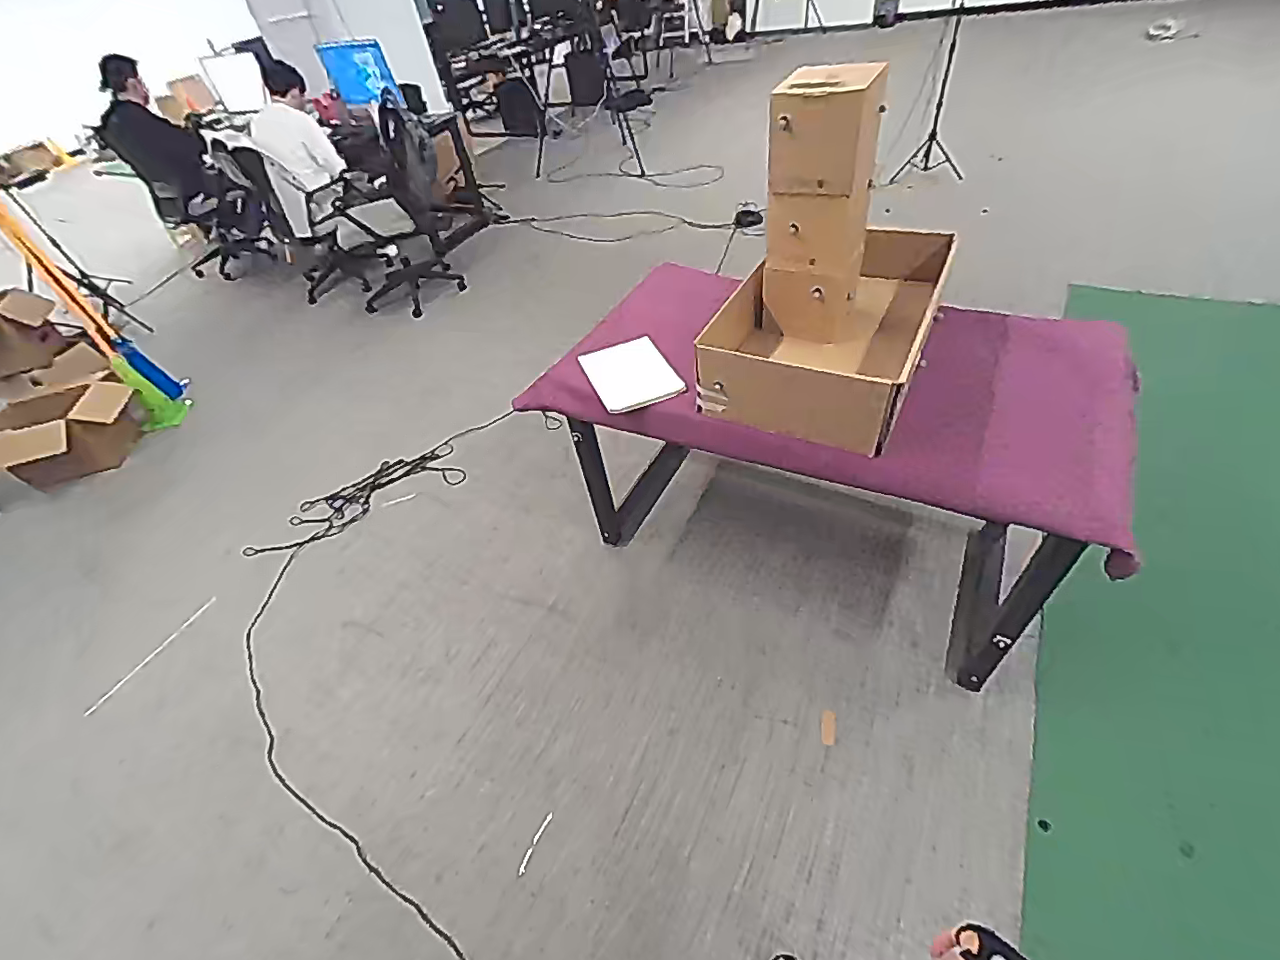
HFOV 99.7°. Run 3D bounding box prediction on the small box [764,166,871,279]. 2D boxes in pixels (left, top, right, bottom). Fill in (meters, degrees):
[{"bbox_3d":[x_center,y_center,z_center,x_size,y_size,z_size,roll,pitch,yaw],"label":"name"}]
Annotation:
[{"bbox_3d":[0.378,-0.553,1.161,0.168,0.176,0.179,19,54,27],"label":"small box"}]
